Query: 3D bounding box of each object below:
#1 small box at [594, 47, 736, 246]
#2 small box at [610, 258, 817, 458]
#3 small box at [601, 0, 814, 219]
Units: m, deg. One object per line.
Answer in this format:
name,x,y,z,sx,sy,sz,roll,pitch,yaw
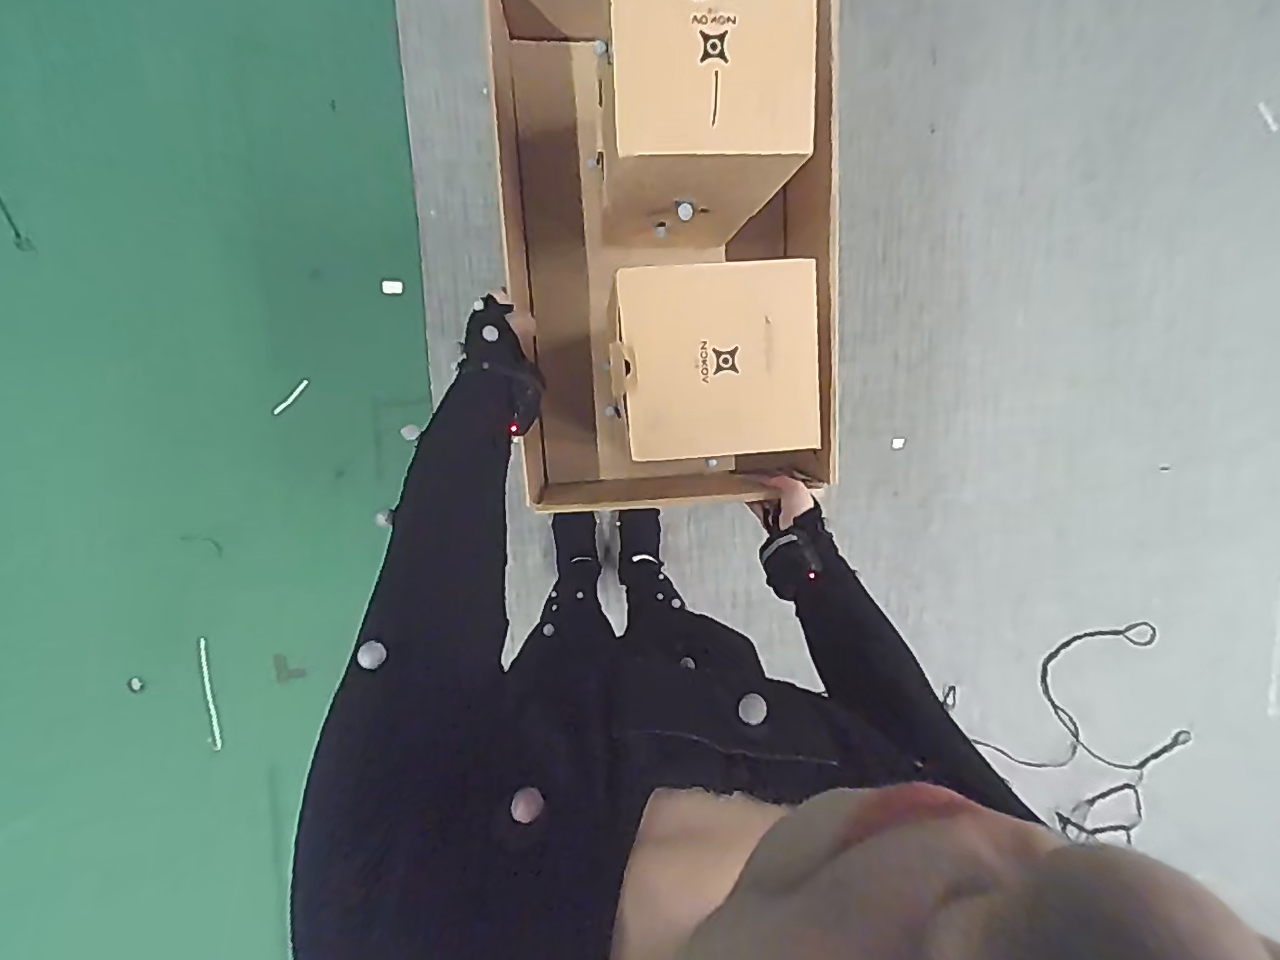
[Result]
small box,0.035,-0.395,0.668,0.179,0.176,0.168,-2,100,-4
small box,0.061,-0.115,0.548,0.179,0.176,0.168,-5,99,-5
small box,0.050,-0.364,0.507,0.168,0.176,0.179,-3,101,-5
